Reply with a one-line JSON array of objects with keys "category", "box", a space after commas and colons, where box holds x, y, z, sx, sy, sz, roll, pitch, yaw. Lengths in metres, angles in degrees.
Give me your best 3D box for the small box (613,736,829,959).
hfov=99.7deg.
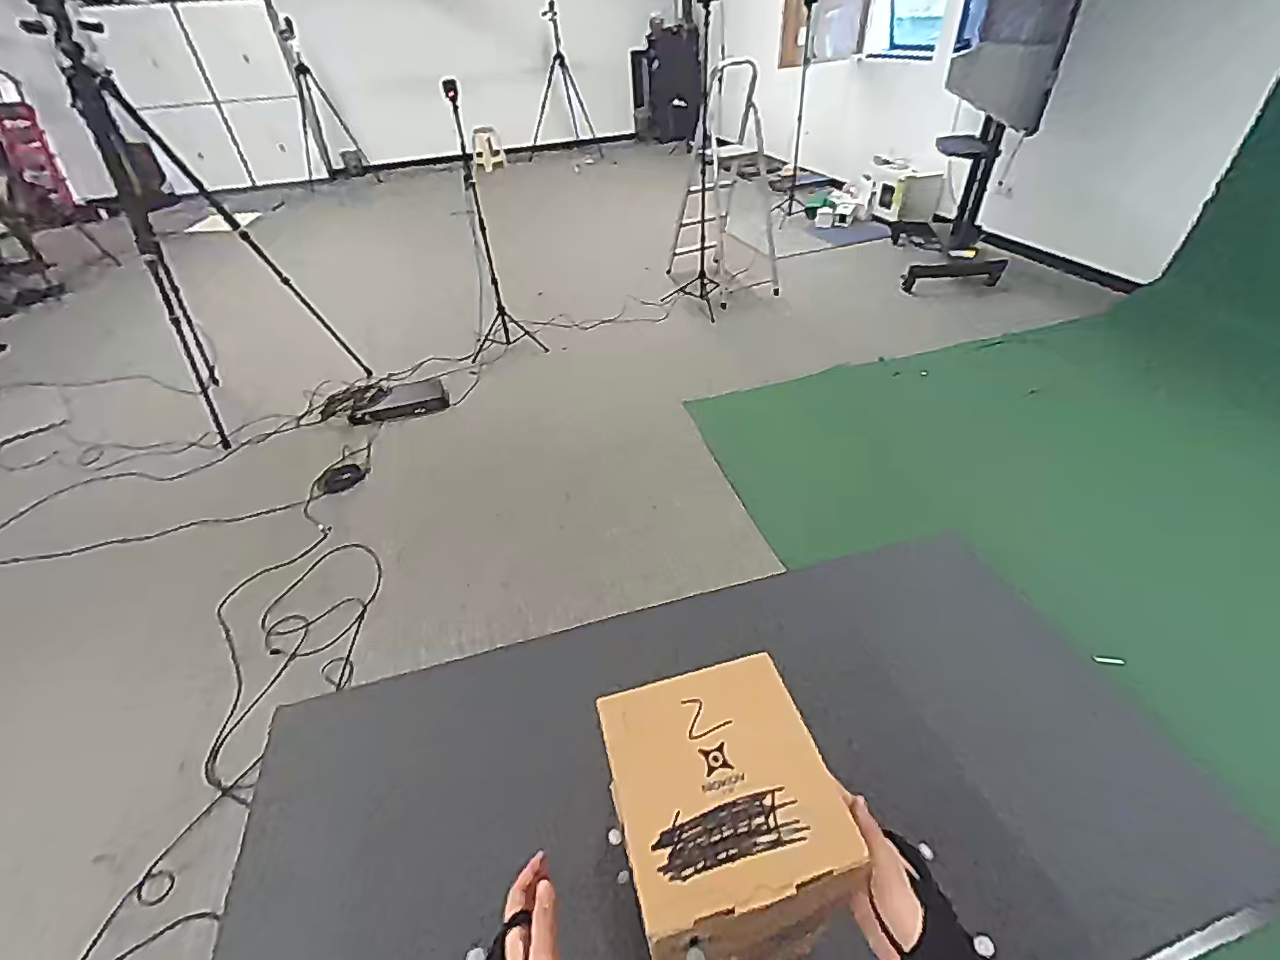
[{"category": "small box", "box": [0.075, 0.422, 0.589, 0.168, 0.176, 0.179, -15, 42, -11]}]
